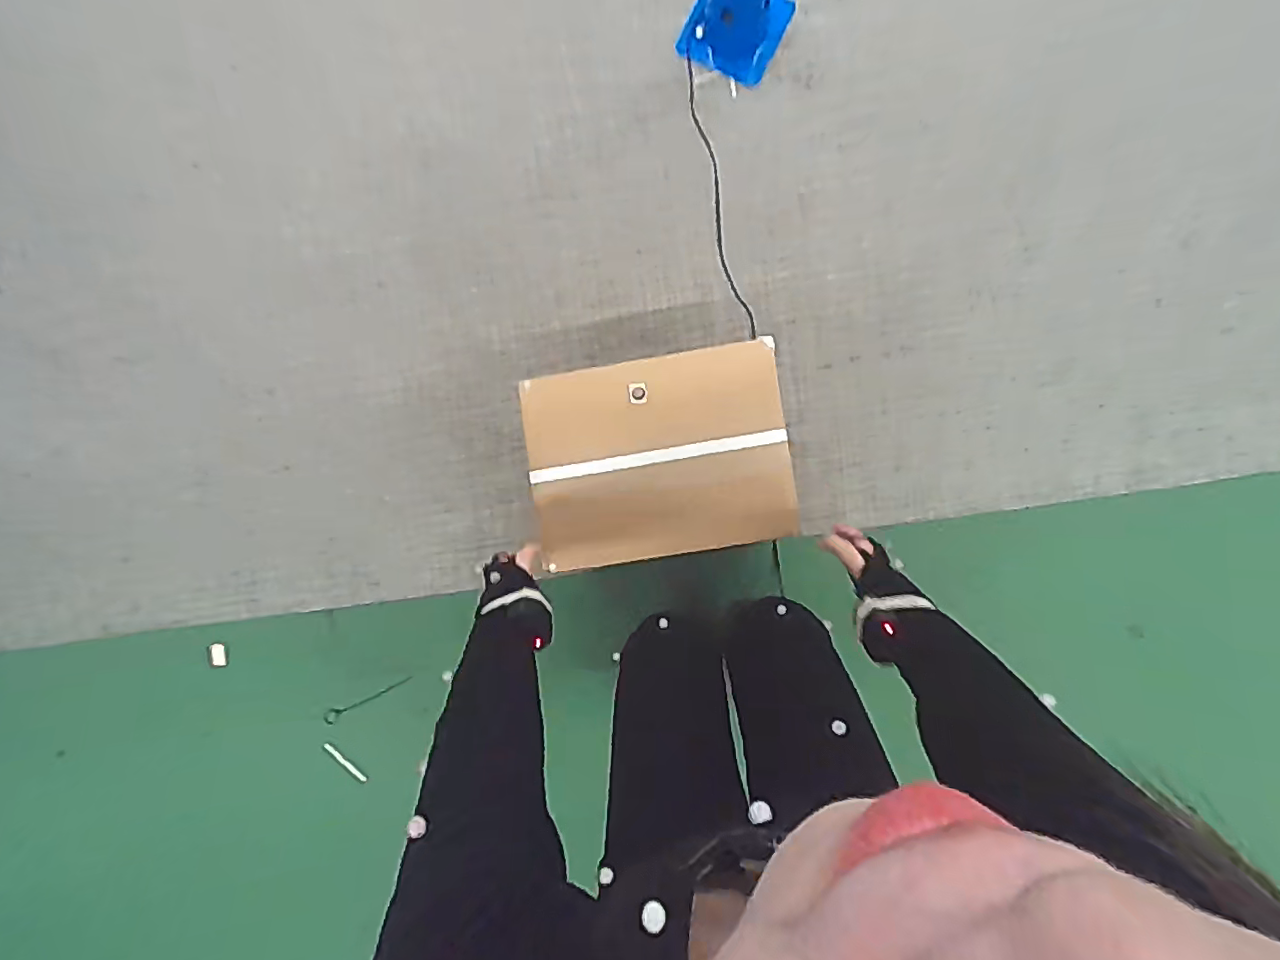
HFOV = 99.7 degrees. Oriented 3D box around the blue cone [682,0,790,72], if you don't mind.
[{"bbox_3d":[0.186,-0.951,0.955,0.192,0.380,0.193,24,92,4],"label":"blue cone"}]
